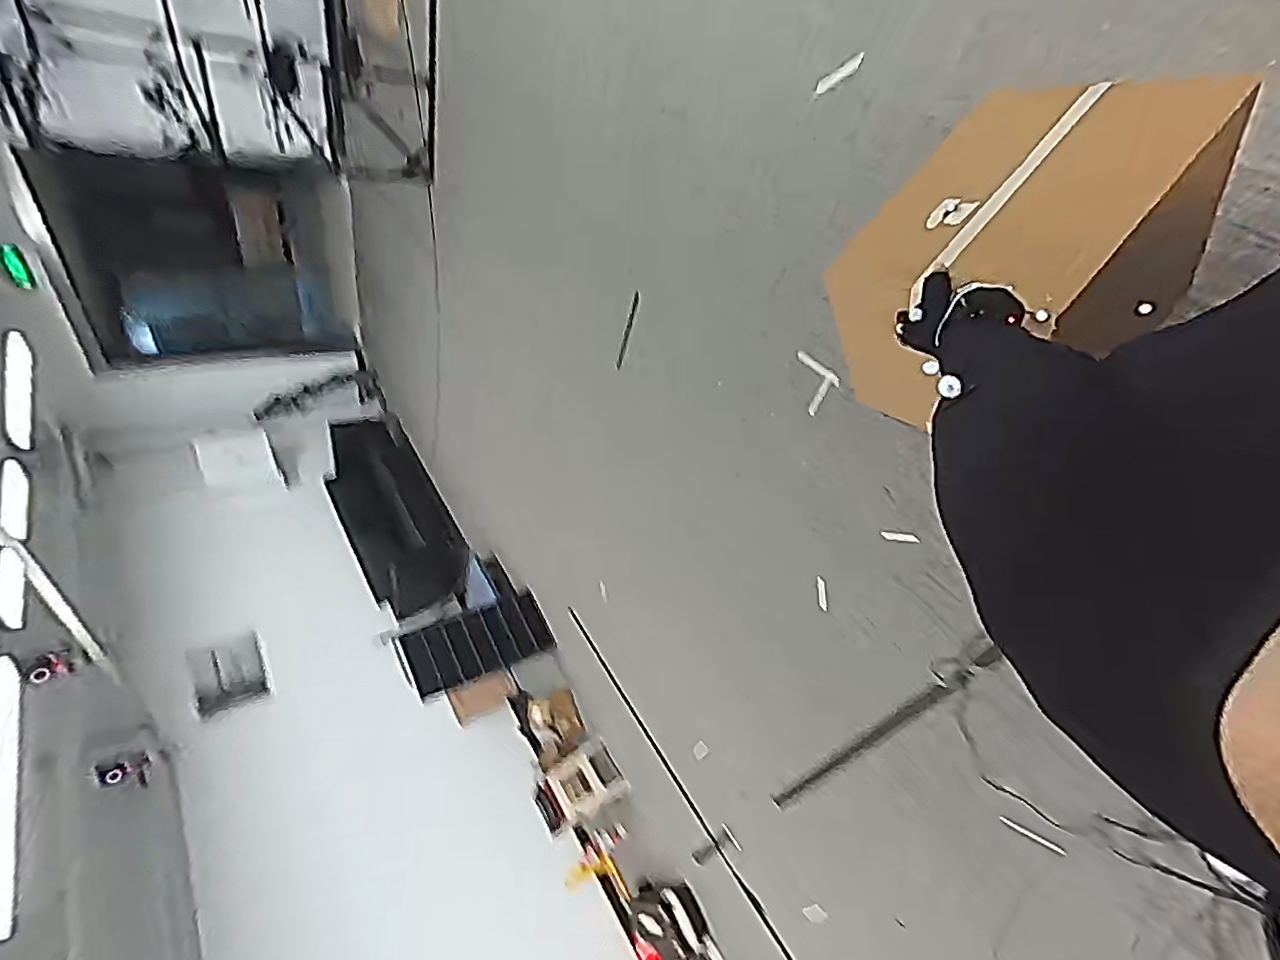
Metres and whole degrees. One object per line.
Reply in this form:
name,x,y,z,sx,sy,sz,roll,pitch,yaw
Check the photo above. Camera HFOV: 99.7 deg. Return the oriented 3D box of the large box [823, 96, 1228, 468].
large box,0.557,-0.300,0.832,0.320,0.408,0.320,36,171,44
